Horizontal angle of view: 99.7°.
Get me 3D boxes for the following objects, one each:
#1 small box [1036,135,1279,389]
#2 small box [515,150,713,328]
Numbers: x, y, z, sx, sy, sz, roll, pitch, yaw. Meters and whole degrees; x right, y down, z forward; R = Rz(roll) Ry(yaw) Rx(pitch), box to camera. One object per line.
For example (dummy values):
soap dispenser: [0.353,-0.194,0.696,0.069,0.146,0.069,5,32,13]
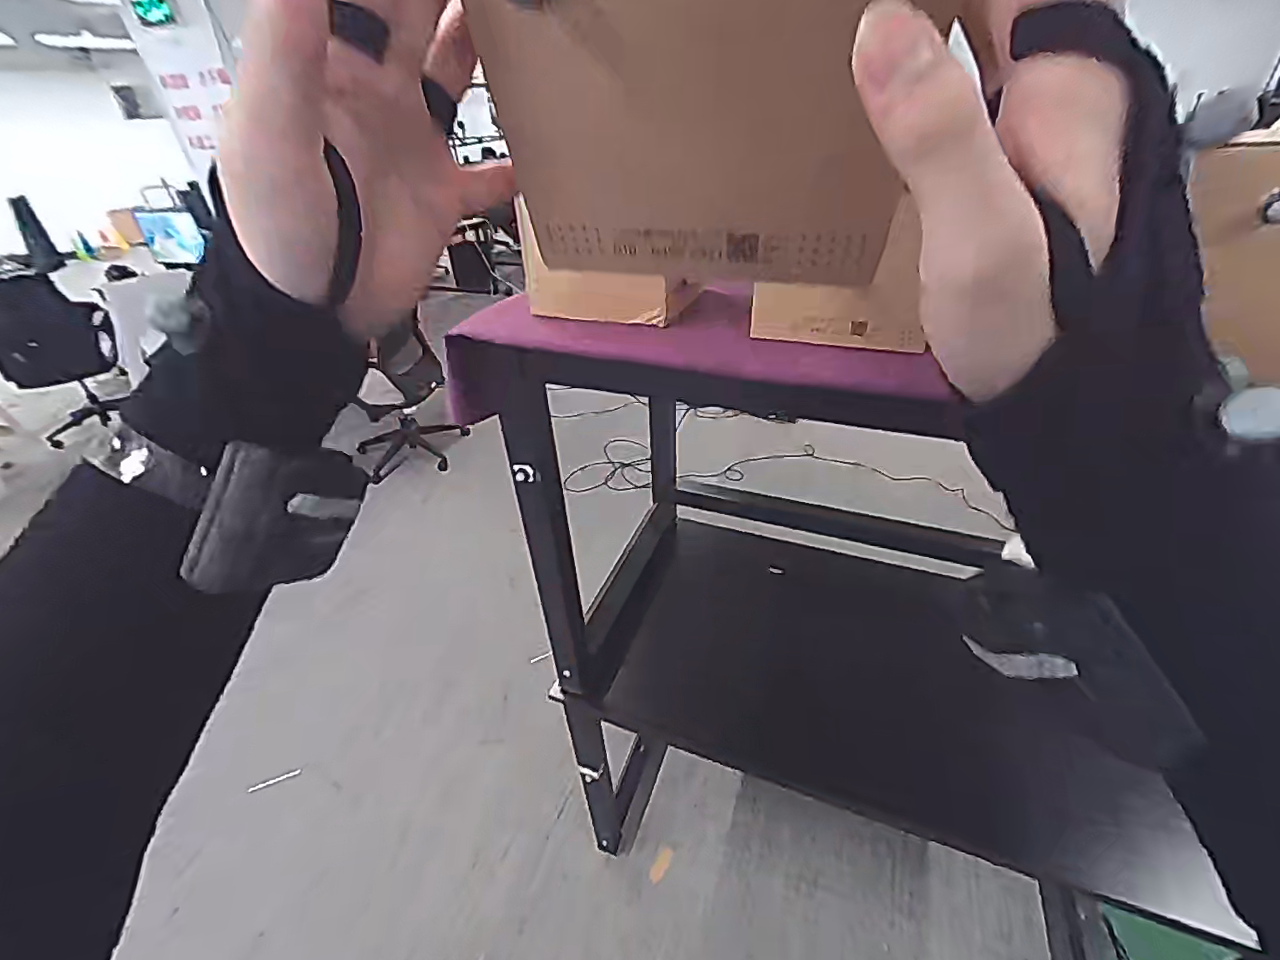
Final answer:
small box: [0.479,-0.189,0.462,0.179,0.176,0.168,11,35,21]
small box: [-0.022,-0.291,0.647,0.179,0.176,0.168,12,37,19]
